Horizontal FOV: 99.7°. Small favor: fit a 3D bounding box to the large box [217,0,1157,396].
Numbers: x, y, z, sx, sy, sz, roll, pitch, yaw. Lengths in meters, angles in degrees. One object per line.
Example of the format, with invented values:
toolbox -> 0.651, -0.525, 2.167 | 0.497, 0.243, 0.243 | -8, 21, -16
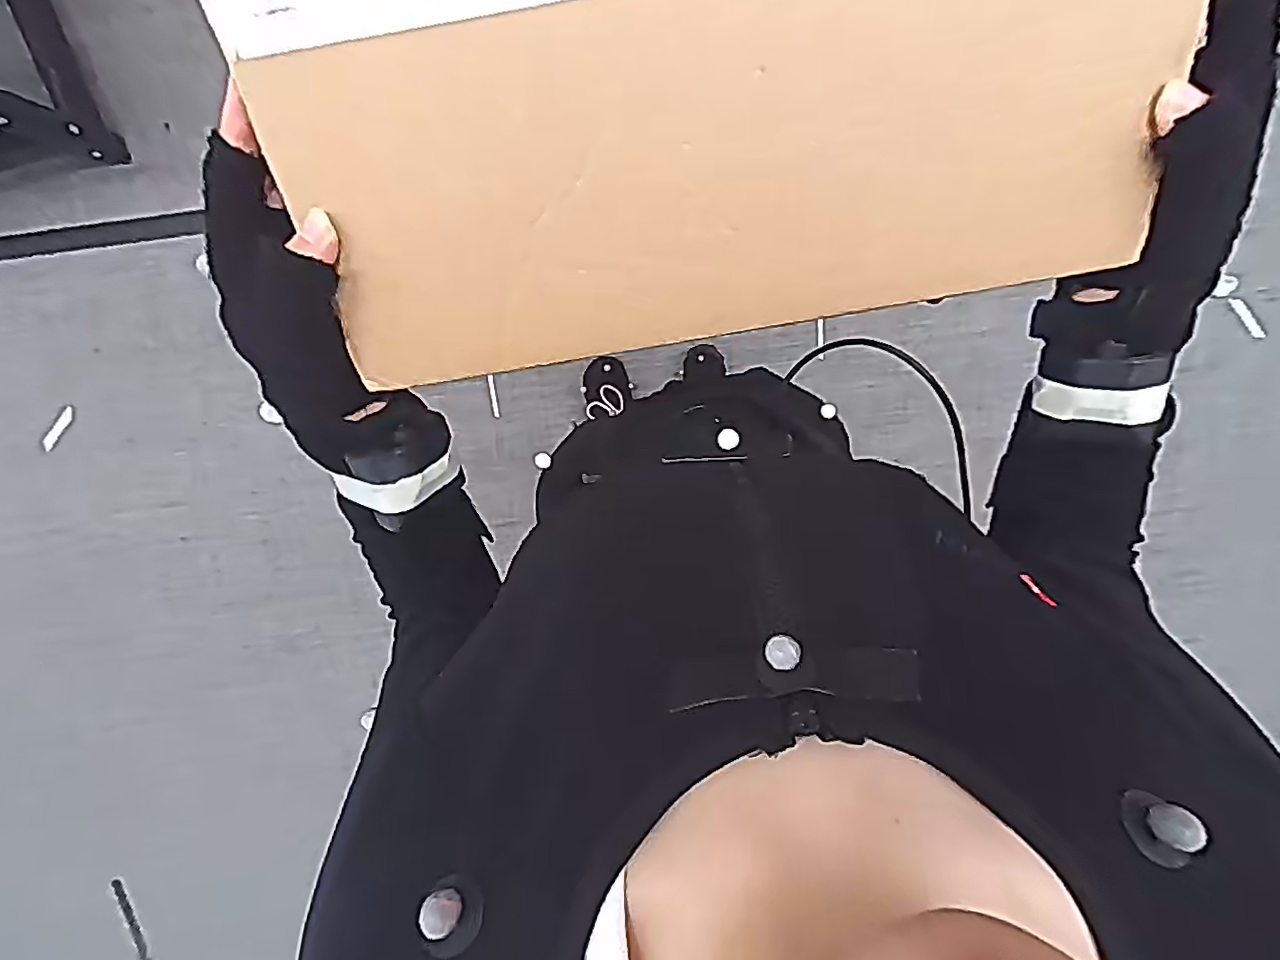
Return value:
large box -> 0.020, -0.283, 0.355 | 0.408, 0.320, 0.320 | -9, 117, 2
